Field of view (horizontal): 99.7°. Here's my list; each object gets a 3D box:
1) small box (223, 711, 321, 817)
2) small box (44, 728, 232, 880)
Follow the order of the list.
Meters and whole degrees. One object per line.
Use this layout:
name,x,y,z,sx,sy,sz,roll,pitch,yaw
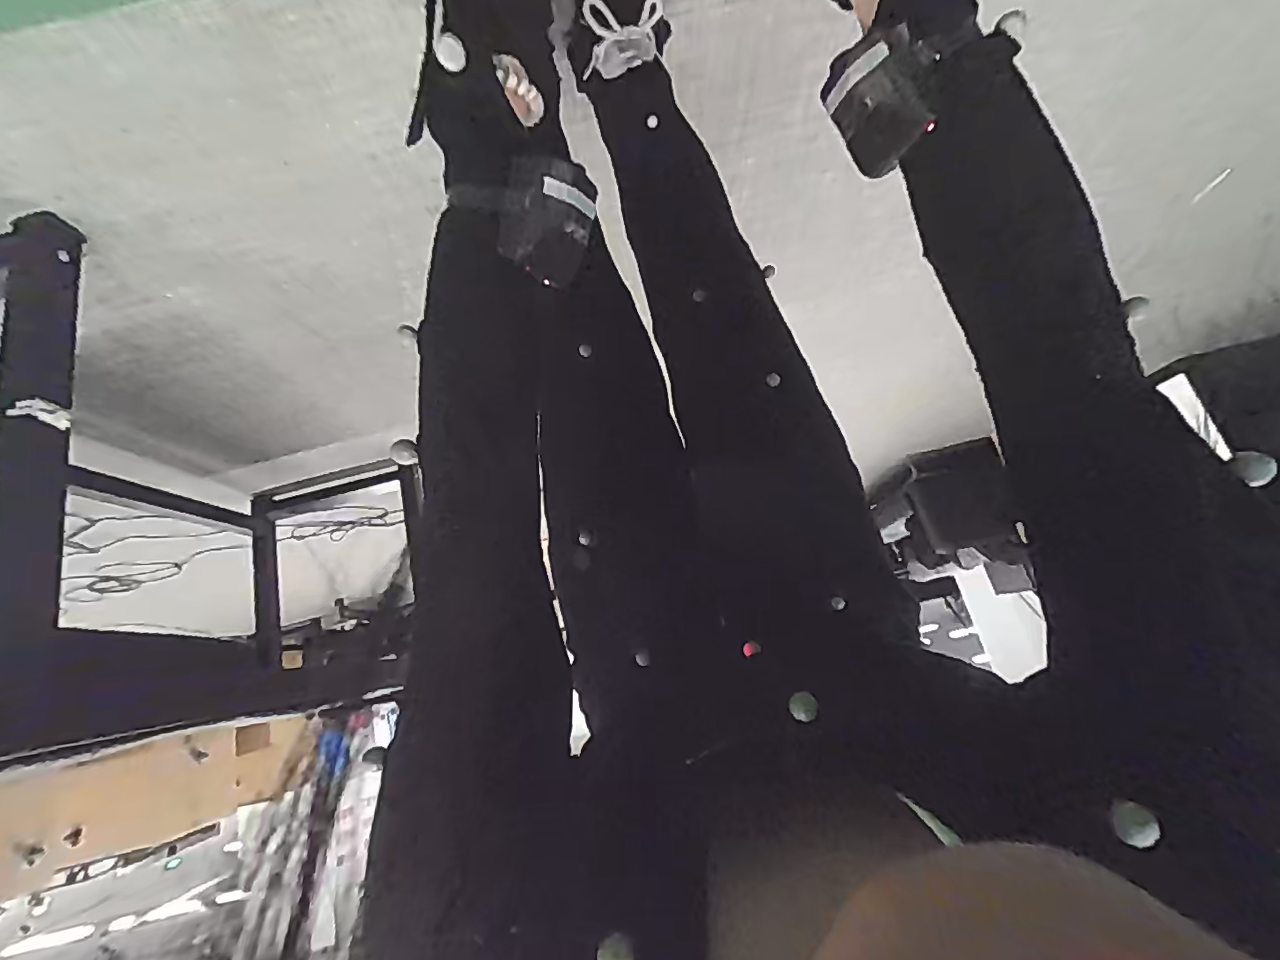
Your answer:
small box,-0.819,0.601,1.155,0.179,0.176,0.168,-13,163,0
small box,-0.838,0.536,0.922,0.179,0.176,0.168,-14,164,1
